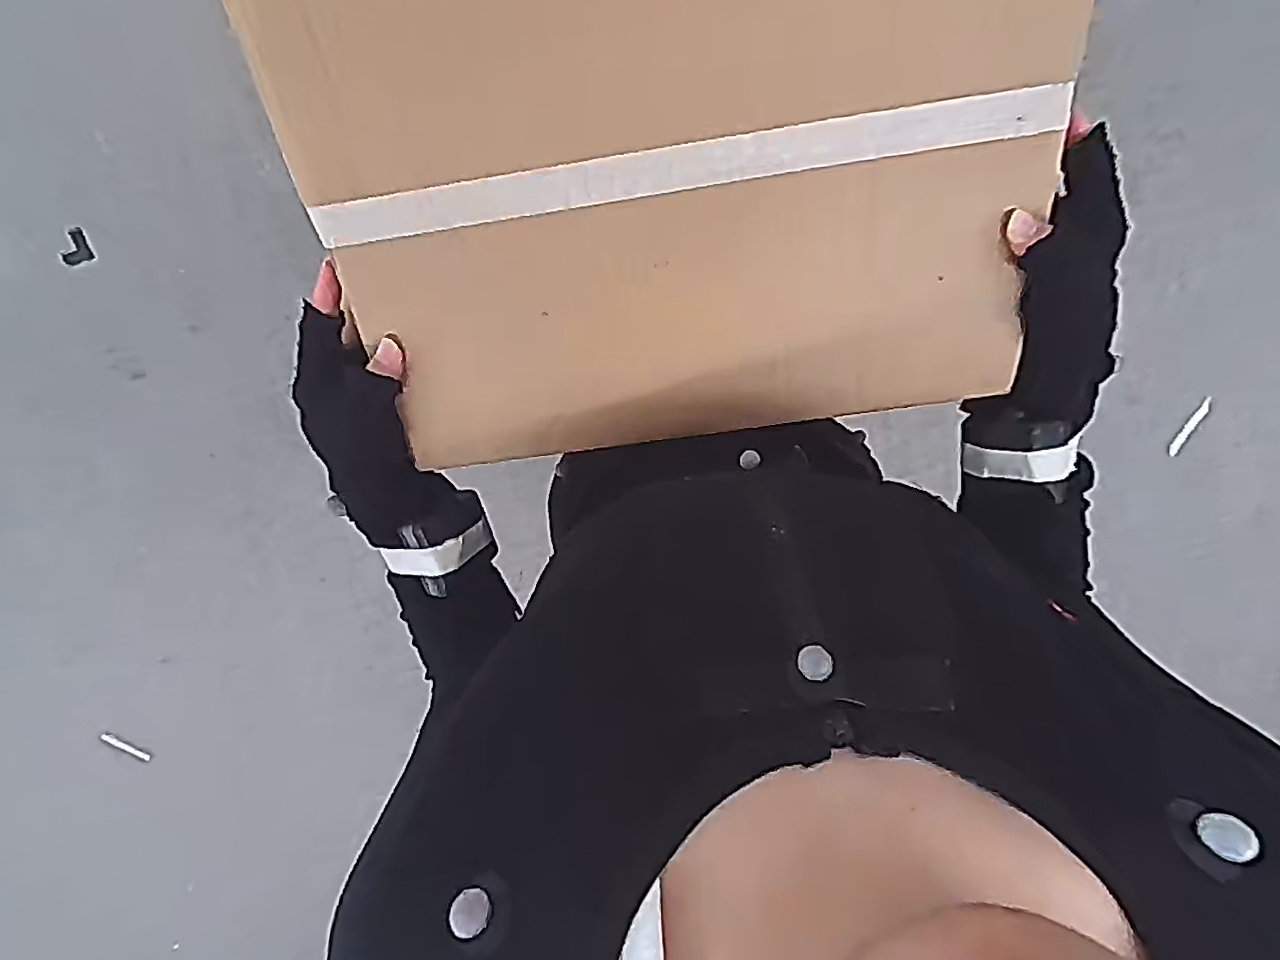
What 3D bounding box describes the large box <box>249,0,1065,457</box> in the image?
[{"bbox_3d":[0.015,-0.246,0.431,0.408,0.320,0.320,-7,120,3],"label":"large box"}]
